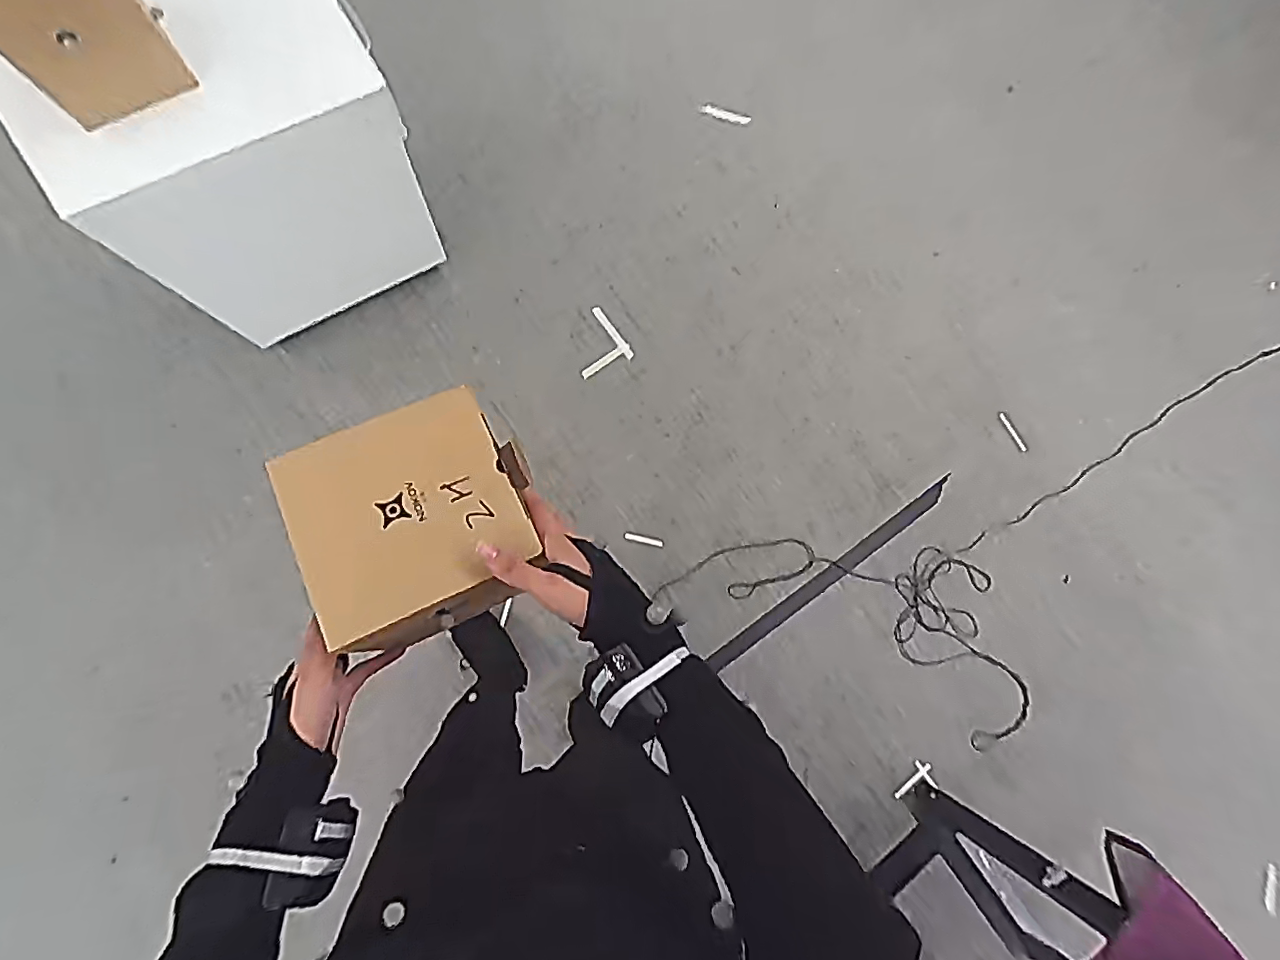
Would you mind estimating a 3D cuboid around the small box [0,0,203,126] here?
[{"bbox_3d":[-0.774,-0.641,0.748,0.179,0.176,0.168,-33,90,-12],"label":"small box"}]

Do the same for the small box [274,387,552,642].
[{"bbox_3d":[-0.197,0.044,0.518,0.179,0.176,0.168,-24,77,-12],"label":"small box"}]
